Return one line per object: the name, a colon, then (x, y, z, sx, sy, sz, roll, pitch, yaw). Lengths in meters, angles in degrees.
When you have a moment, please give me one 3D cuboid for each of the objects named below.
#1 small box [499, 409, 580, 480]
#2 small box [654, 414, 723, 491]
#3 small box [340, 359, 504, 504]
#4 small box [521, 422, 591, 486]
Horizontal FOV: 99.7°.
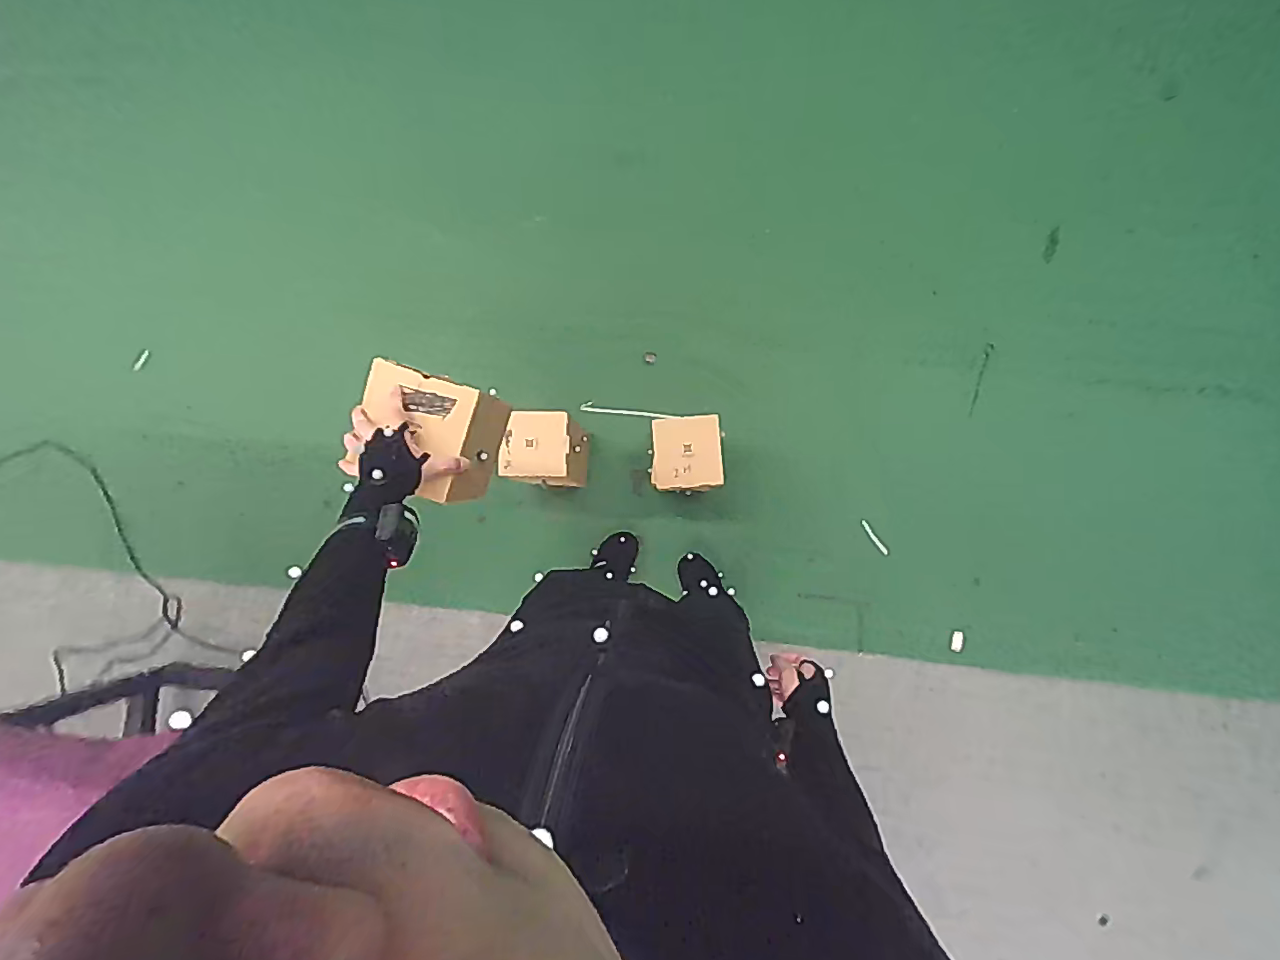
small box: (-0.258, -0.088, 1.423, 0.179, 0.176, 0.168, 2, 86, 4)
small box: (0.123, -0.066, 1.395, 0.168, 0.176, 0.179, -3, 87, 4)
small box: (-0.333, -0.073, 0.865, 0.168, 0.176, 0.179, 18, 93, 4)
small box: (-0.242, -0.077, 1.587, 0.168, 0.176, 0.179, 4, 87, 4)
